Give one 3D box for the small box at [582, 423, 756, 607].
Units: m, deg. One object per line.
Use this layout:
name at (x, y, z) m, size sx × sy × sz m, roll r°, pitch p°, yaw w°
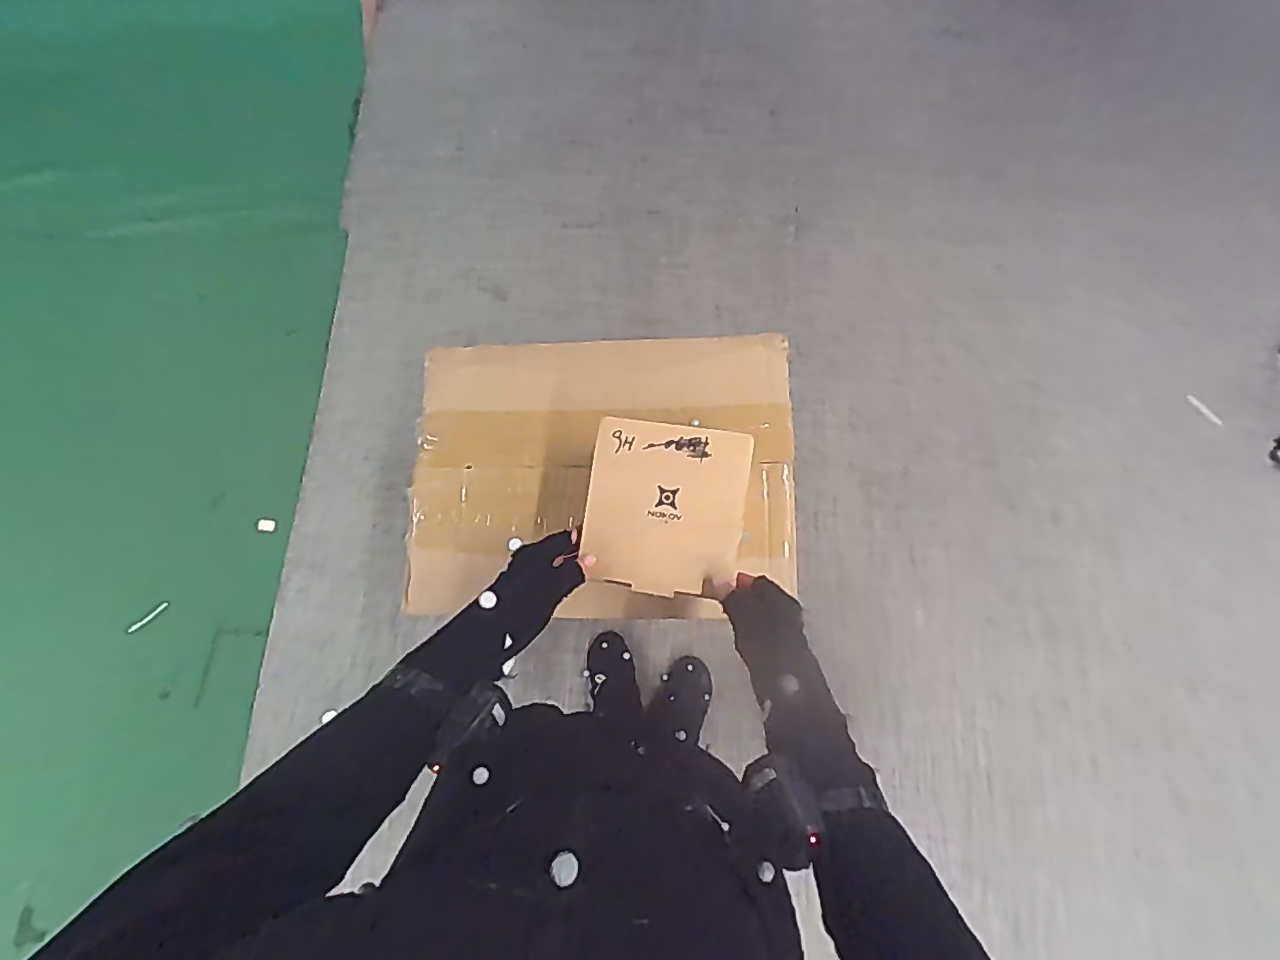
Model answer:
small box at (0.038, 0.043, 0.647) m, size 0.168 × 0.176 × 0.179 m, roll 8°, pitch 84°, yaw 5°
